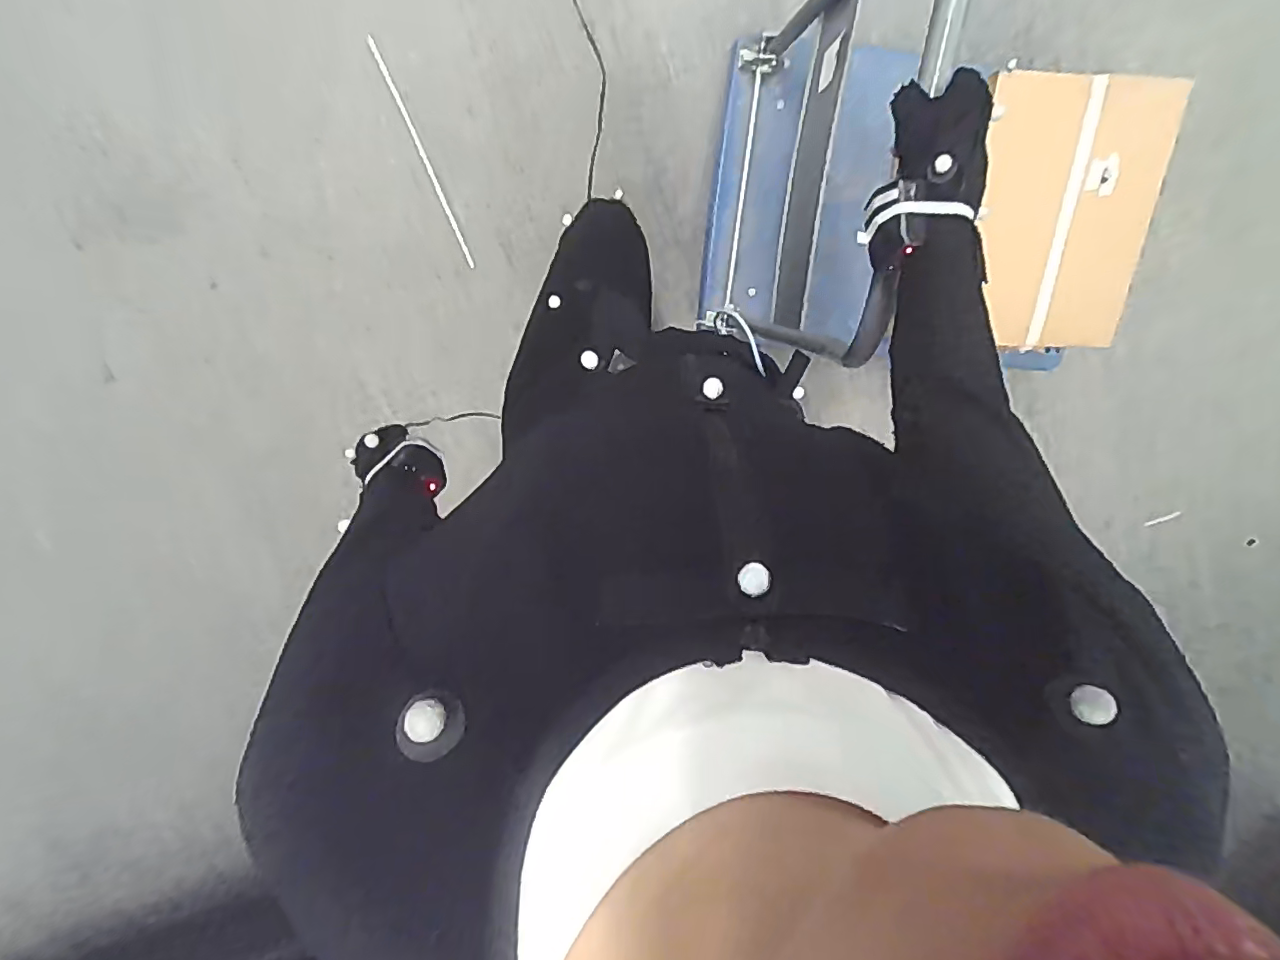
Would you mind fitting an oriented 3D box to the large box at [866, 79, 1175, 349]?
[{"bbox_3d":[0.666,-0.465,1.029,0.320,0.320,0.408,0,109,-4],"label":"large box"}]
